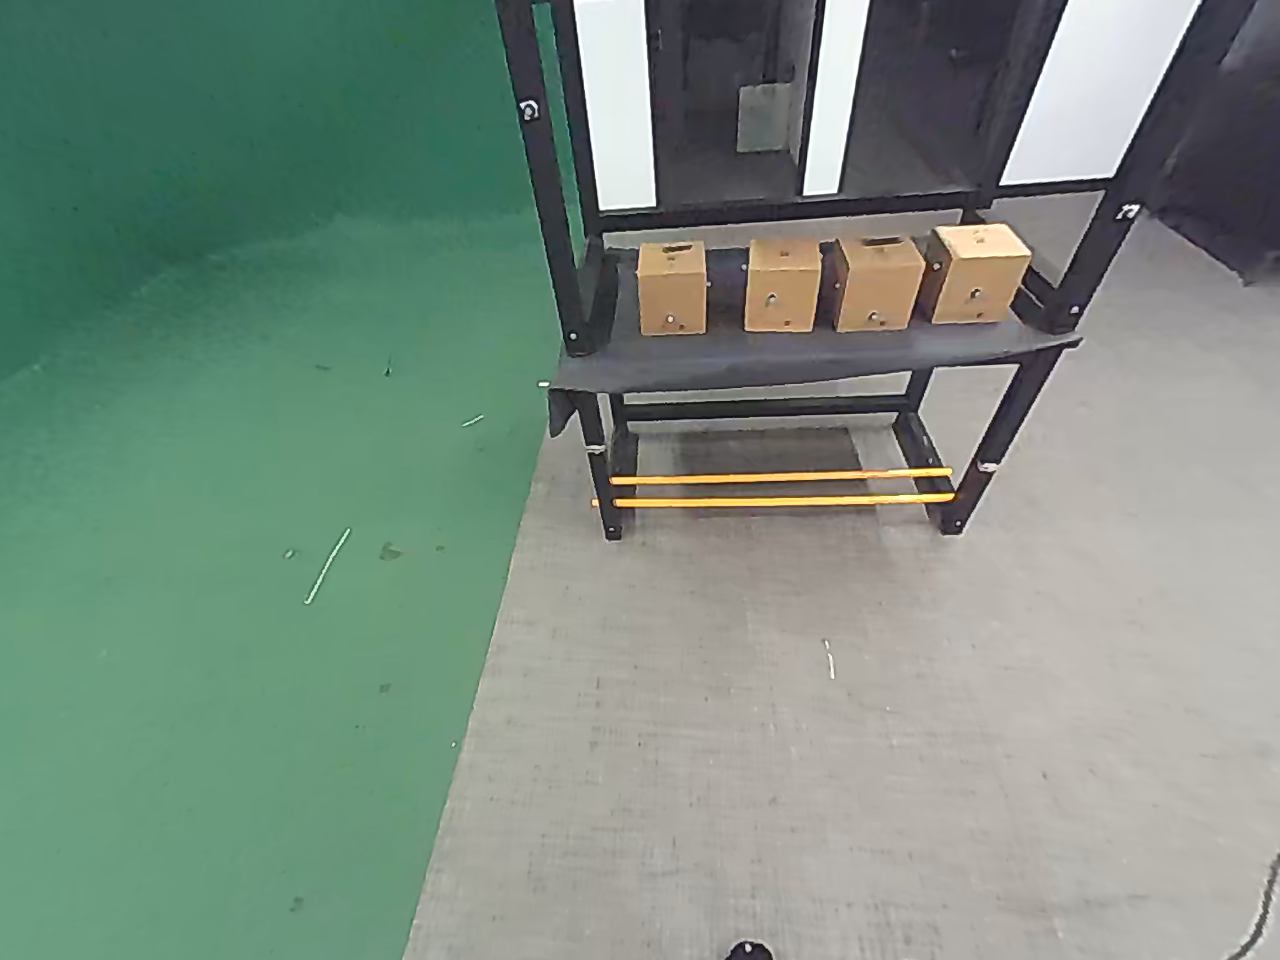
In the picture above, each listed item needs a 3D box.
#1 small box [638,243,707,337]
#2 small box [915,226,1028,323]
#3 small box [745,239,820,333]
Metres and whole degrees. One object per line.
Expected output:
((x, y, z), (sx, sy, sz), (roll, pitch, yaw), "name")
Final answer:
((0.086, -0.487, 1.391), (0.168, 0.176, 0.179), (-1, 47, 5), "small box")
((0.793, -0.496, 1.314), (0.168, 0.176, 0.179), (1, 46, 7), "small box")
((0.354, -0.485, 1.360), (0.168, 0.176, 0.179), (3, 47, 10), "small box")
